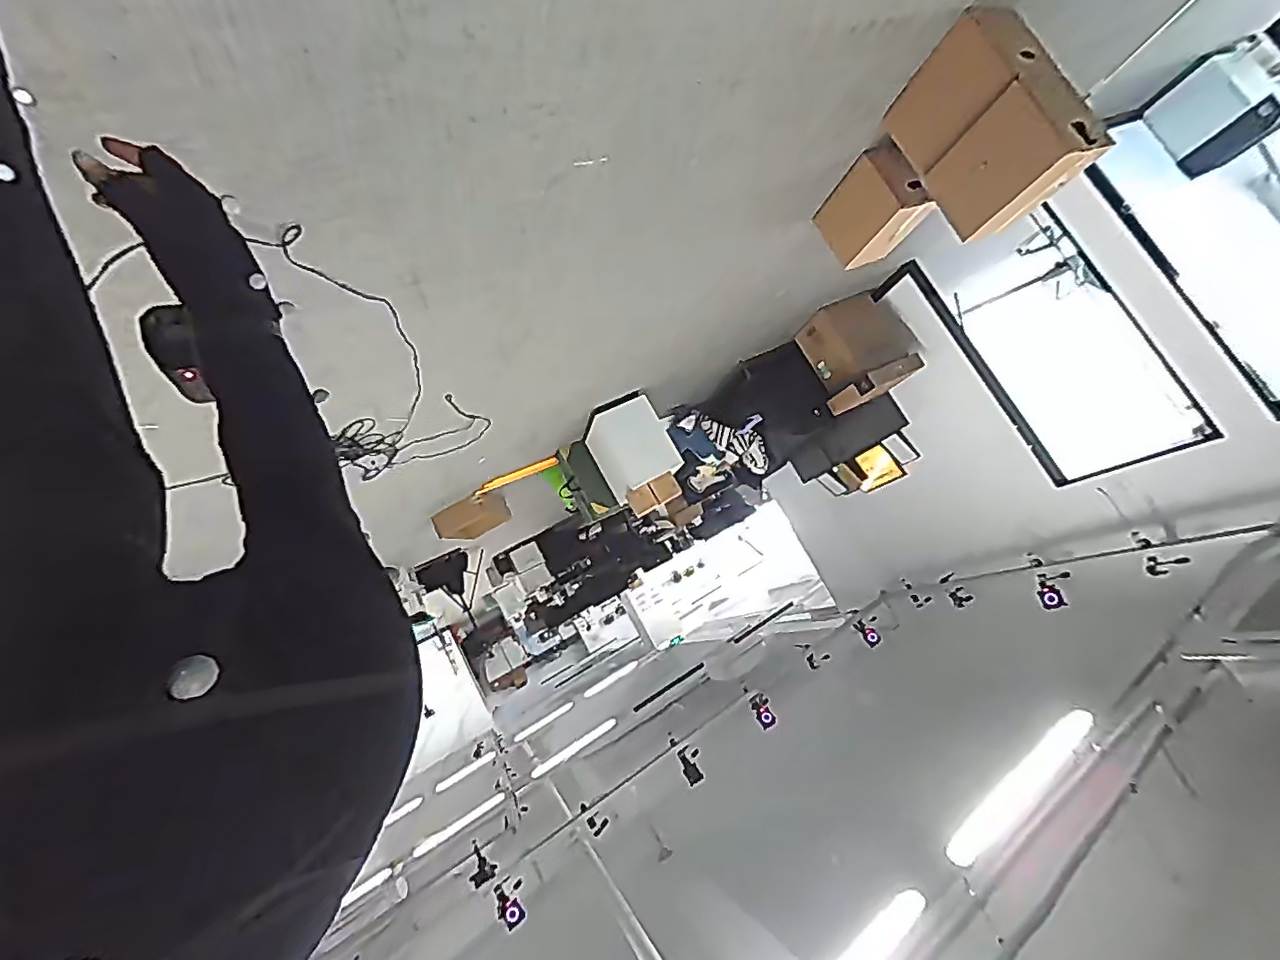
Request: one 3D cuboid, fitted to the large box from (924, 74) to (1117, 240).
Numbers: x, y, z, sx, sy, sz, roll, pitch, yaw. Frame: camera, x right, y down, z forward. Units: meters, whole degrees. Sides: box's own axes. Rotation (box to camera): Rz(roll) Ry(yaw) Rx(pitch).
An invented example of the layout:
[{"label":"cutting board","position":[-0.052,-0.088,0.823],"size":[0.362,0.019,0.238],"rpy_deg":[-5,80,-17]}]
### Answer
[{"label":"large box","position":[1.331,-1.141,1.932],"size":[0.320,0.320,0.408],"rpy_deg":[-22,169,-25]}]
